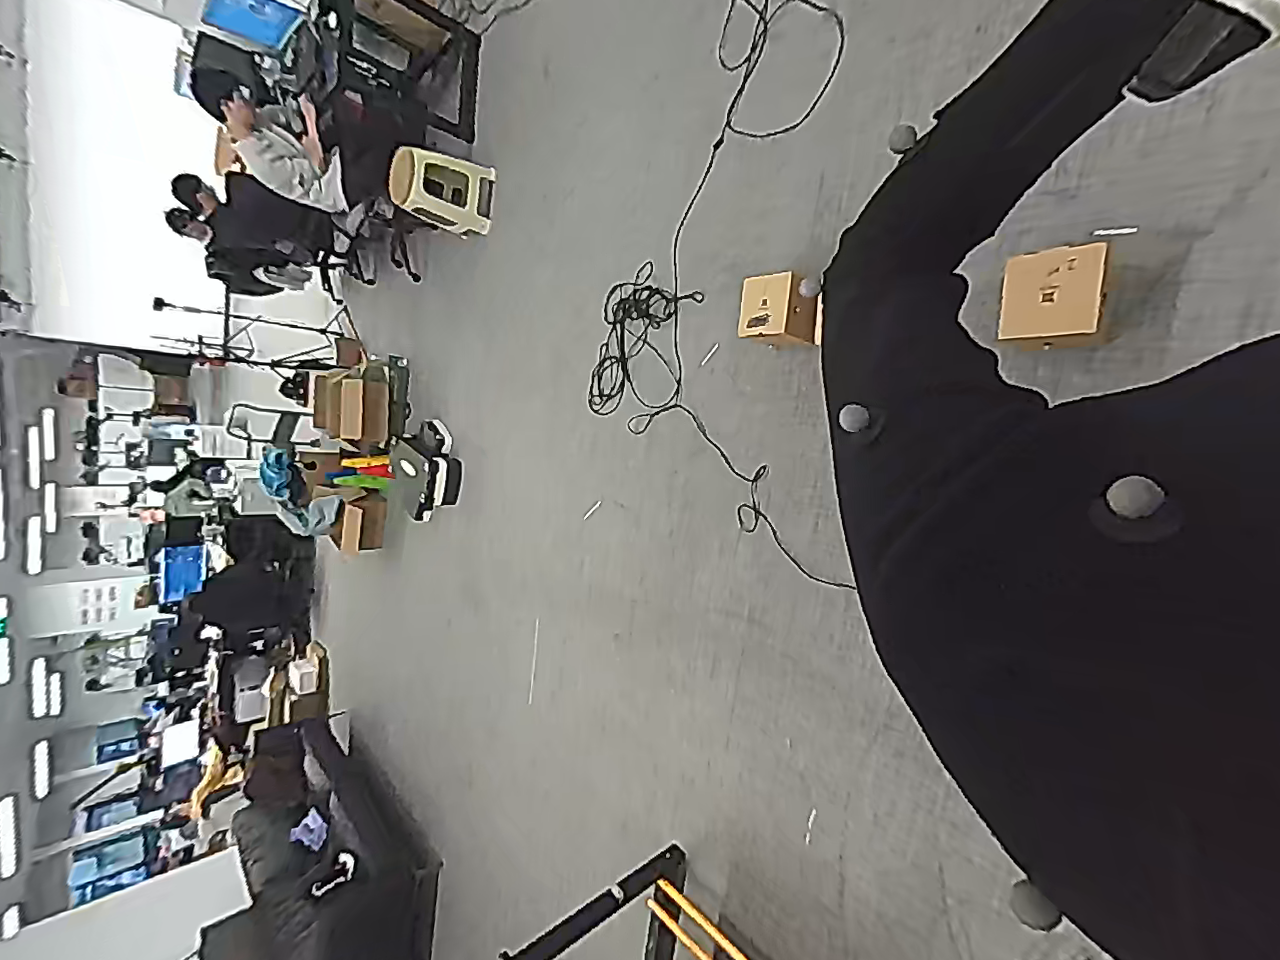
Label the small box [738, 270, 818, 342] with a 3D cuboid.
[{"bbox_3d":[0.419,-0.515,1.629,0.168,0.176,0.179,11,98,45],"label":"small box"}]

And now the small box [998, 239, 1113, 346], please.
[{"bbox_3d":[0.886,-0.385,1.150,0.168,0.176,0.179,8,97,44],"label":"small box"}]
